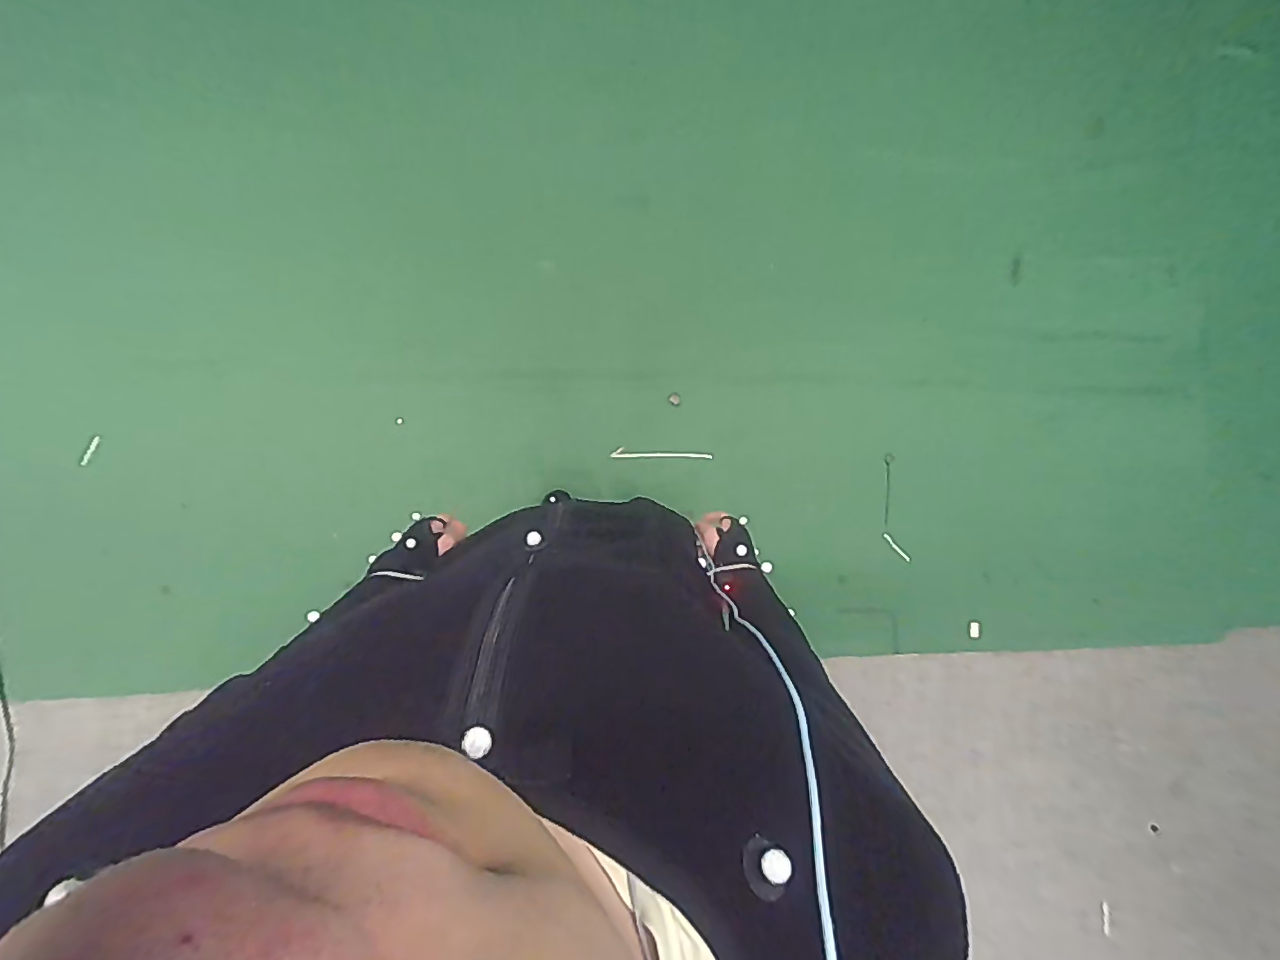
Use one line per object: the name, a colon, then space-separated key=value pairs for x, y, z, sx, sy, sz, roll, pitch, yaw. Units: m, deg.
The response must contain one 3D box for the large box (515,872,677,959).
large box: x=-0.115 y=1.334 z=1.459 sx=0.408 sy=0.320 sz=0.320 roll=-3 pitch=88 yaw=-6
